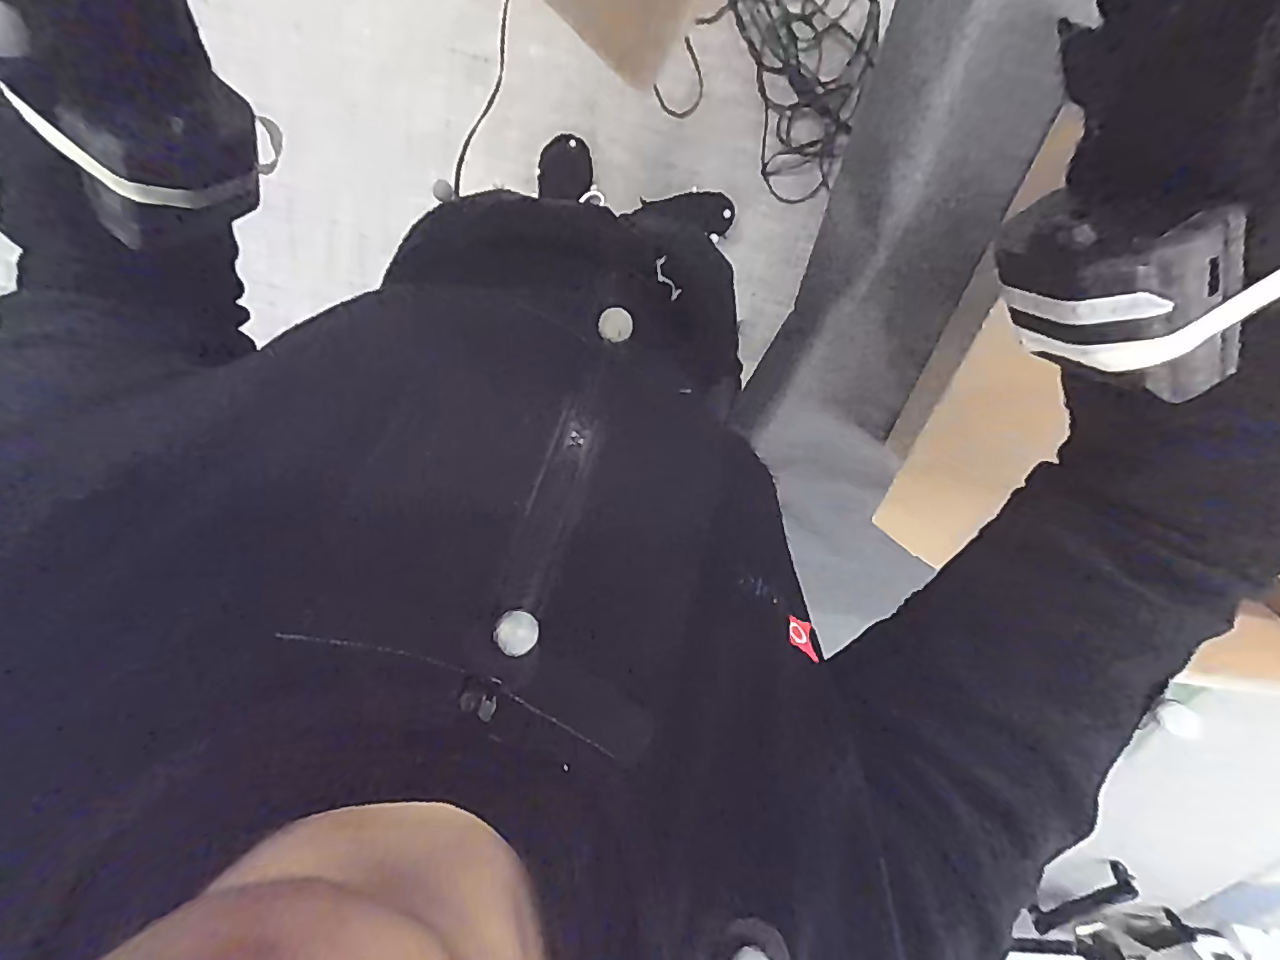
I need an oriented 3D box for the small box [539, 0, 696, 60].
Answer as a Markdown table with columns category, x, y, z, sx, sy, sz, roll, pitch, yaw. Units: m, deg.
| category | x | y | z | sx | sy | sz | roll | pitch | yaw |
| --- | --- | --- | --- | --- | --- | --- | --- | --- | --- |
| small box | -0.007 | -0.181 | 0.042 | 0.168 | 0.176 | 0.179 | 34 | 114 | -22 |
